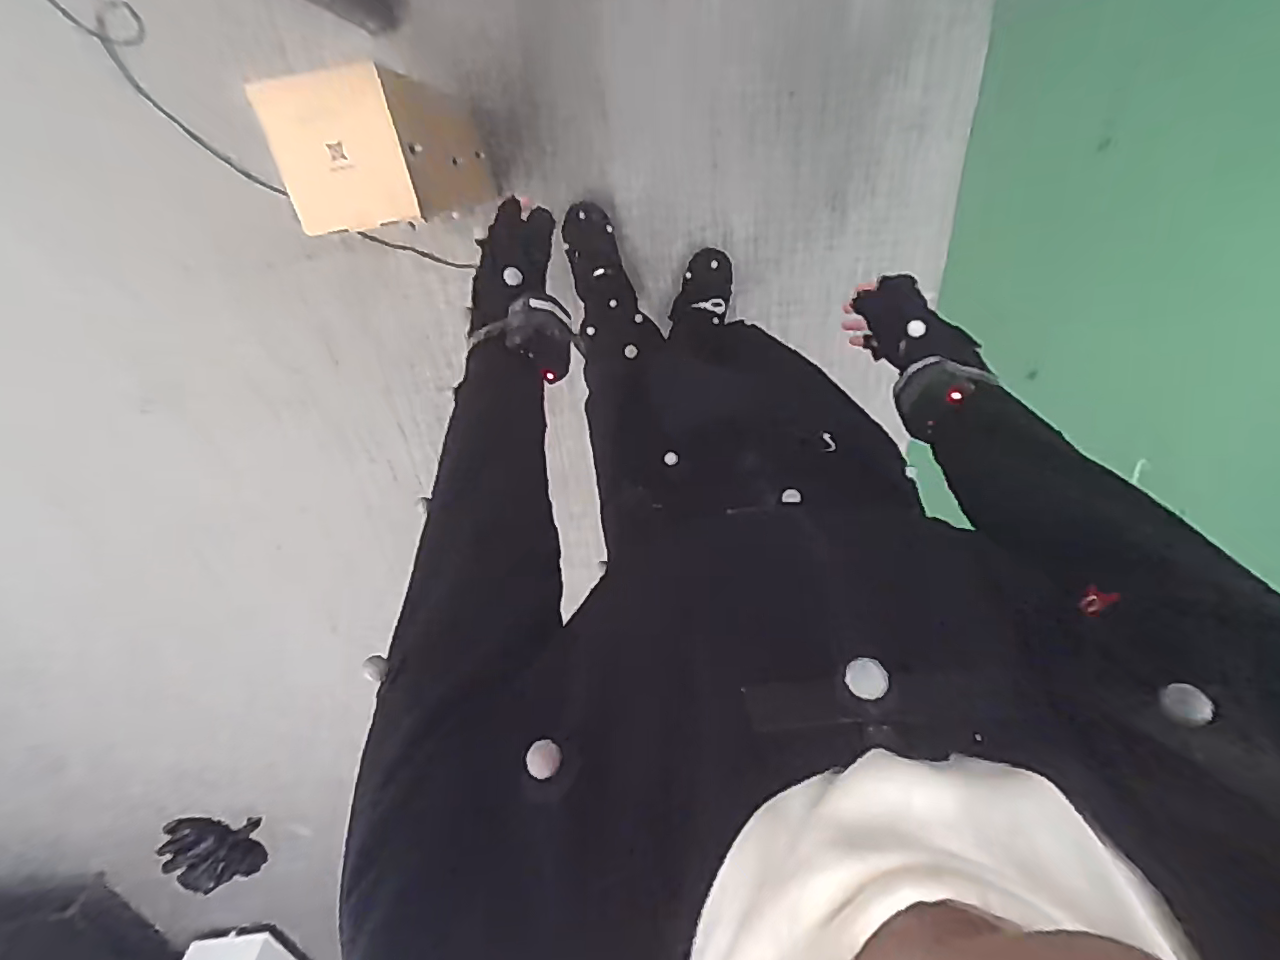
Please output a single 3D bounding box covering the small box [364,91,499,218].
[{"bbox_3d":[-0.390,-0.622,1.046,0.168,0.176,0.179,-10,120,5],"label":"small box"}]
